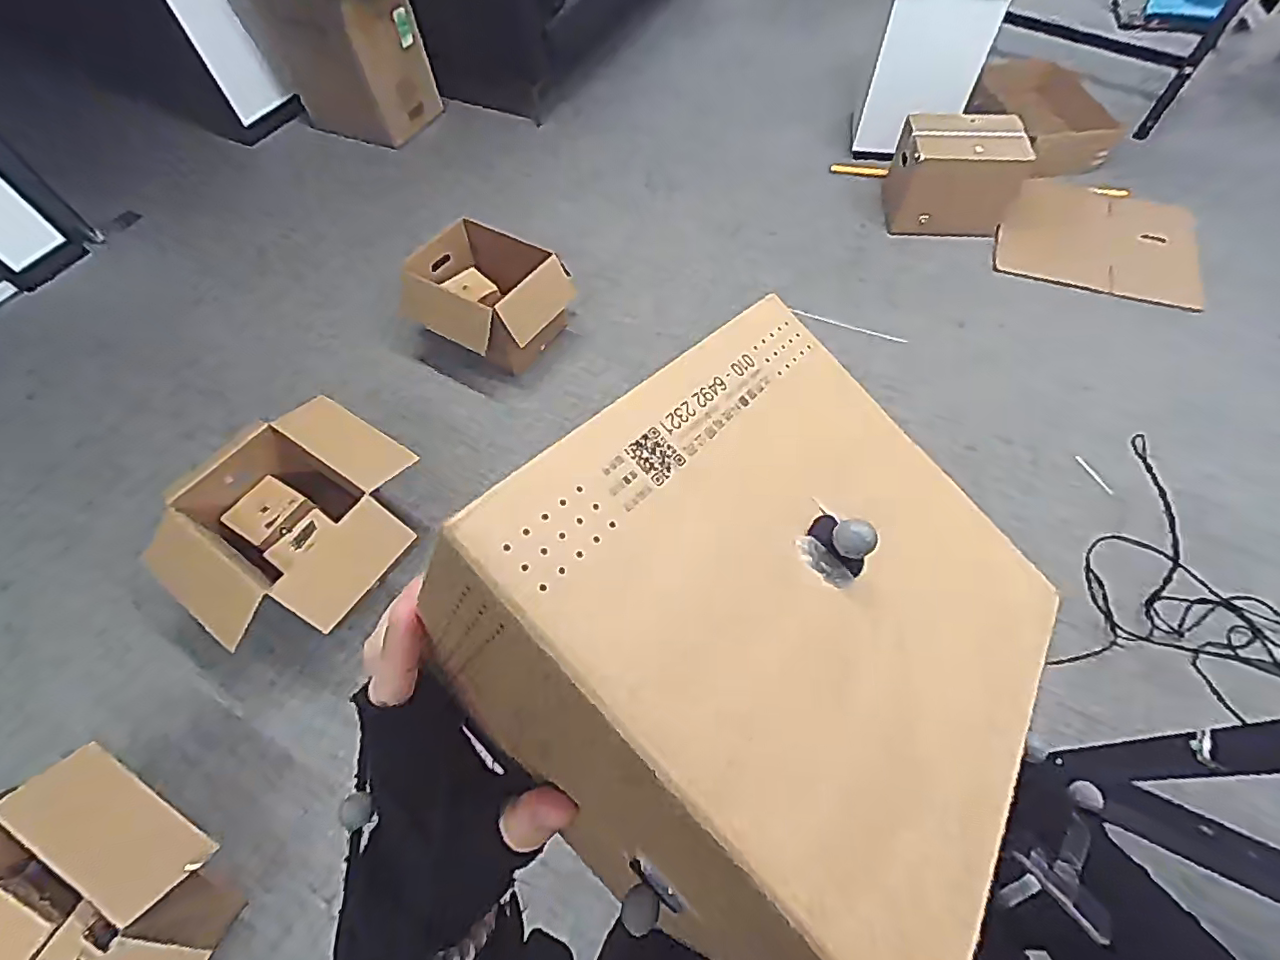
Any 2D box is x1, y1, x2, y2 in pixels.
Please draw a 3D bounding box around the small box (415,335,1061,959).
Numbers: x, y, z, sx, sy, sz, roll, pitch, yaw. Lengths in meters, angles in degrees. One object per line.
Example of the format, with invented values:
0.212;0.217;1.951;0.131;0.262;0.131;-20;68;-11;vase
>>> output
0.026;0.062;0.235;0.176;0.179;0.168;47;54;3;small box
